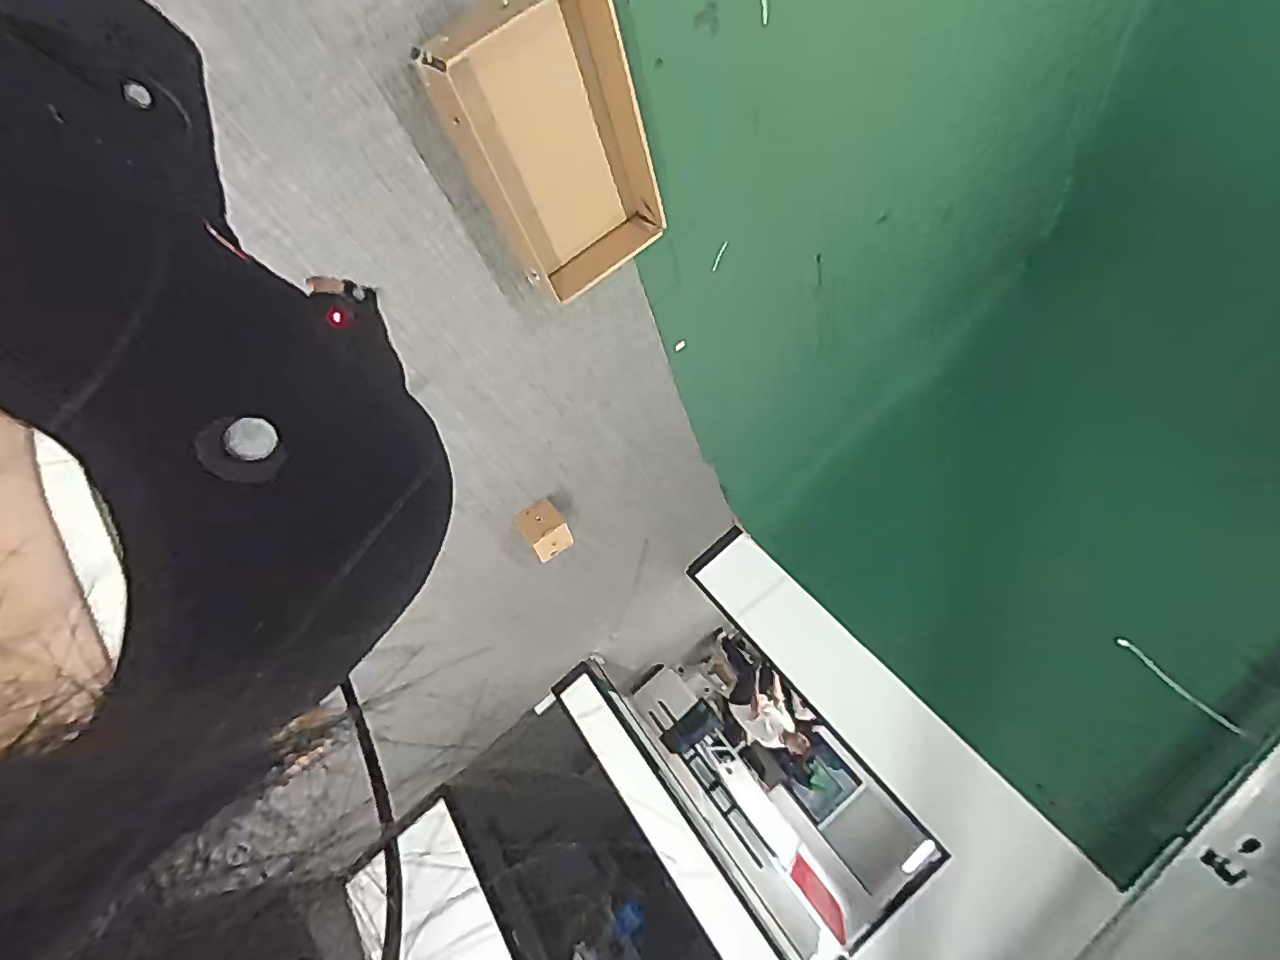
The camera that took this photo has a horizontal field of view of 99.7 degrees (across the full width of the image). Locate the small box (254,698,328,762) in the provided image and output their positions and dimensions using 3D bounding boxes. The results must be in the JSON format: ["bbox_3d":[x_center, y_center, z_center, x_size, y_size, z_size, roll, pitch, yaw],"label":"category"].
[{"bbox_3d":[-1.418,1.012,2.193,0.168,0.176,0.179,-40,147,-7],"label":"small box"}]

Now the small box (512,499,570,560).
[{"bbox_3d":[-0.427,0.207,2.329,0.168,0.176,0.179,-33,146,-16],"label":"small box"}]
